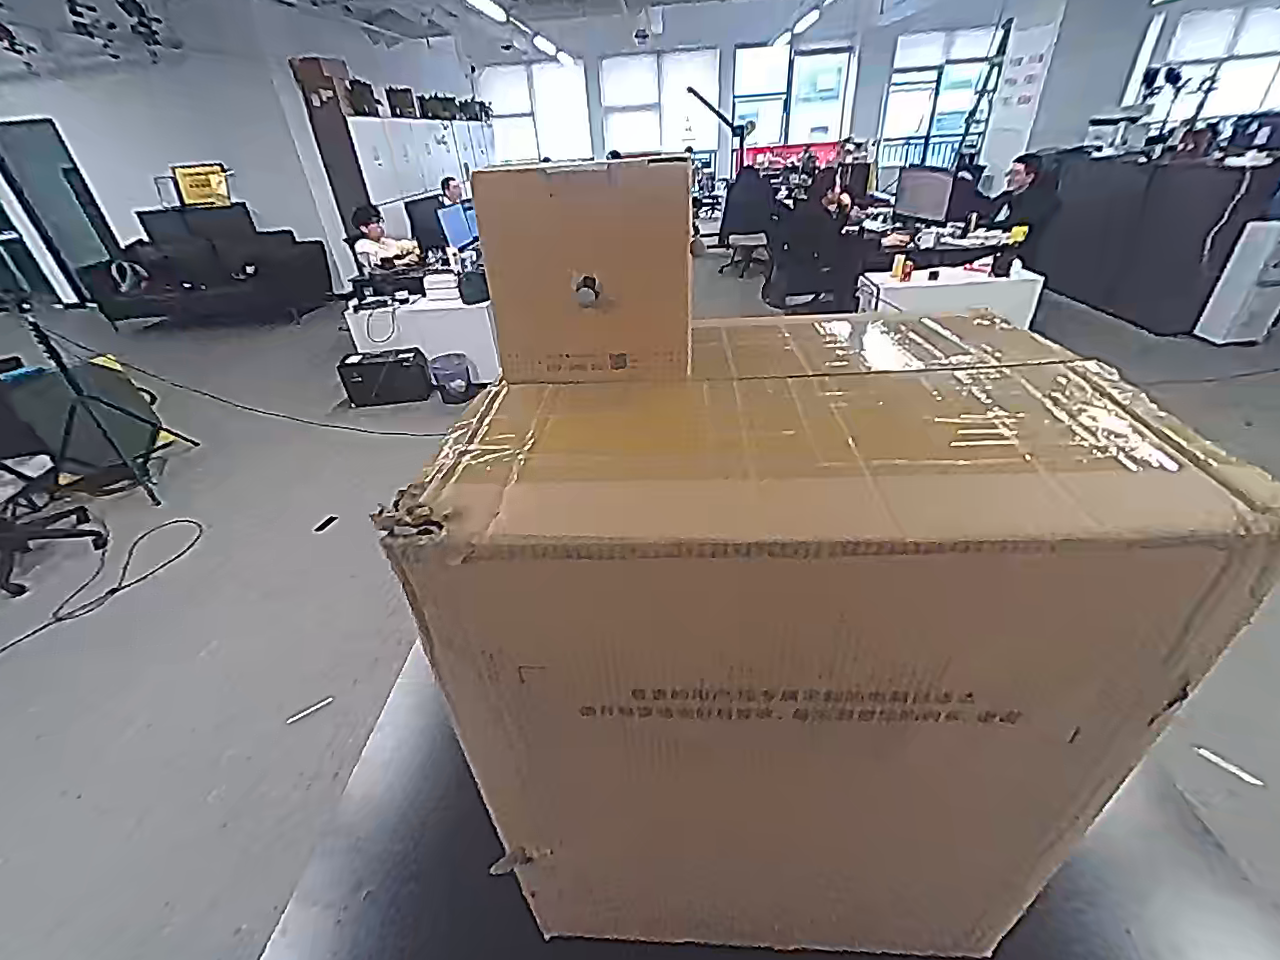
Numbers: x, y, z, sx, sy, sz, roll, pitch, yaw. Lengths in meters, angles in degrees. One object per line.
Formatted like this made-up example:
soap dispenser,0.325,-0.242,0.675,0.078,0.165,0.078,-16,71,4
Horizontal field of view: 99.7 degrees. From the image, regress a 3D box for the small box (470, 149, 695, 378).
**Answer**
small box,-0.033,-0.199,0.499,0.168,0.176,0.179,0,32,5
